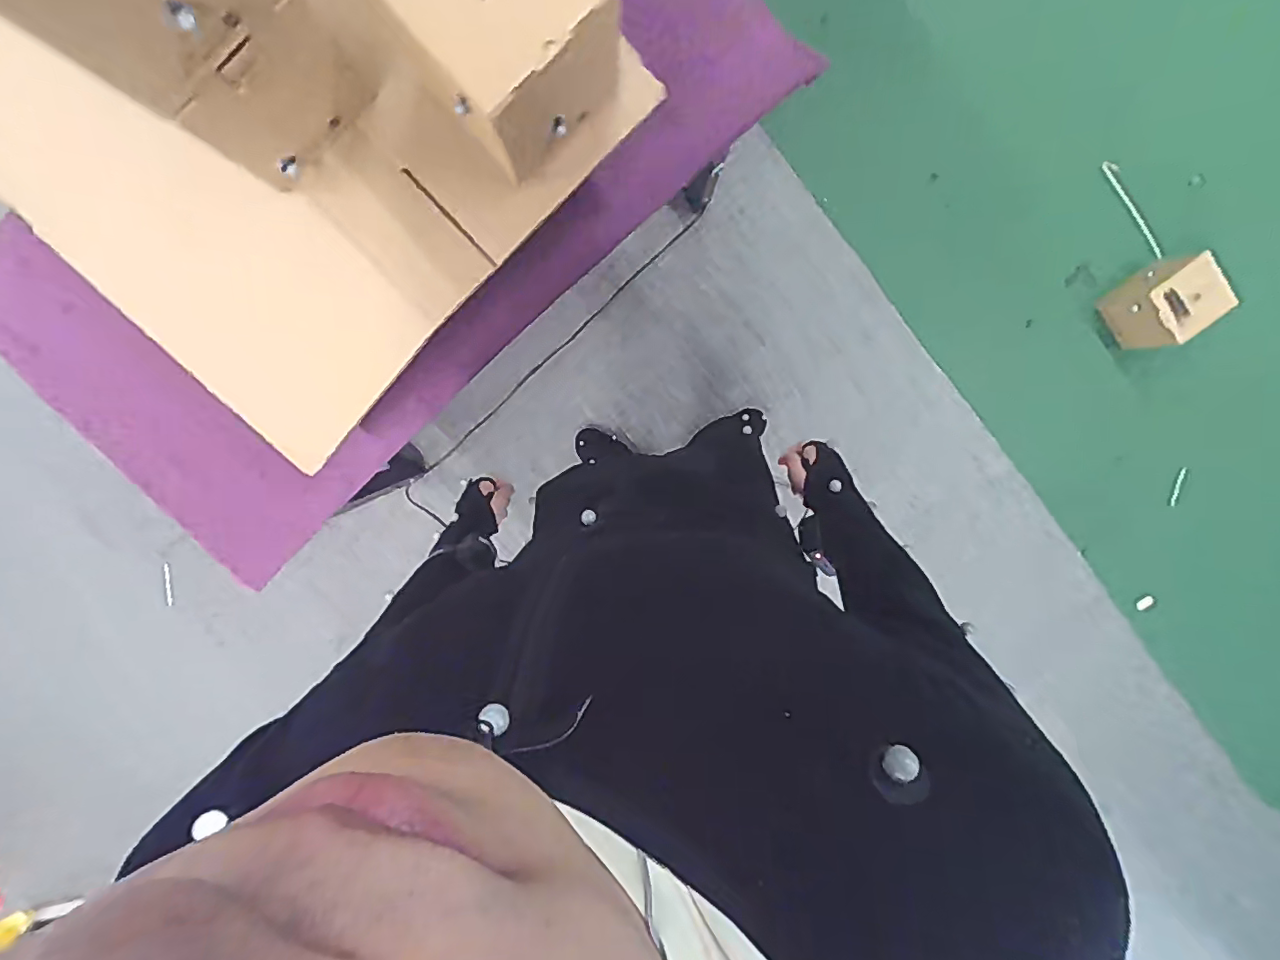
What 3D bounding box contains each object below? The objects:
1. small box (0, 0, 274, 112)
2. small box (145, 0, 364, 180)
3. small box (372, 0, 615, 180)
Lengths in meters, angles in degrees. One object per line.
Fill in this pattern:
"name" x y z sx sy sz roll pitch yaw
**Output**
"small box" -0.416 -0.415 0.376 0.168 0.176 0.179 -44 98 4
"small box" -0.421 -0.437 0.539 0.168 0.176 0.179 -44 97 3
"small box" -0.143 -0.453 0.551 0.168 0.176 0.179 -44 99 4
